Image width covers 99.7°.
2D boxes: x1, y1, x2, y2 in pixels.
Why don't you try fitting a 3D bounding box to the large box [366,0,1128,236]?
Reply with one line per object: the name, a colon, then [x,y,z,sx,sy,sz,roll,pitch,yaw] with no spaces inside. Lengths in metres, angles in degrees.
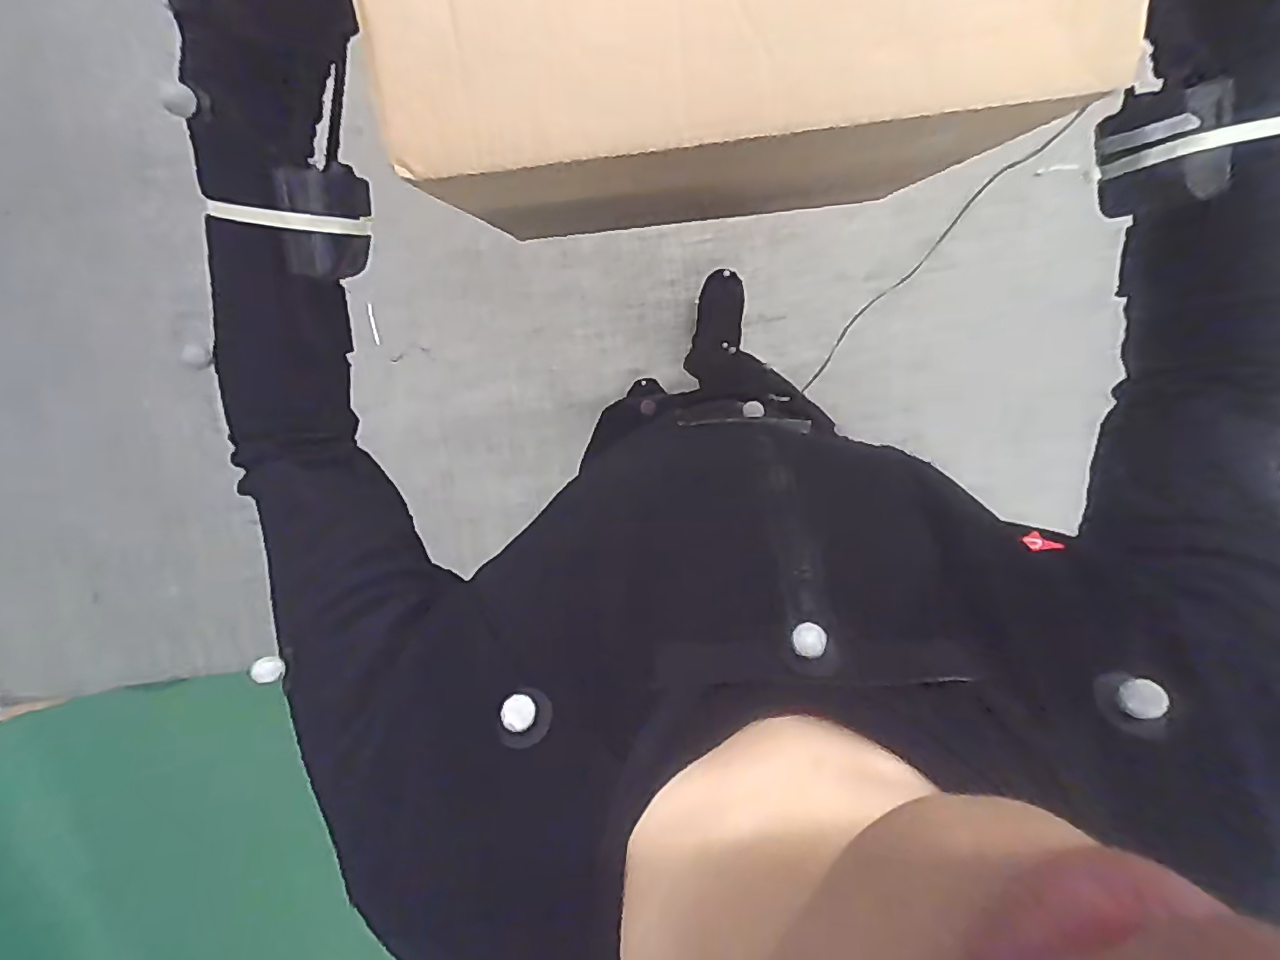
large box: [0.041,-0.388,0.394,0.408,0.320,0.320,-7,109,1]
